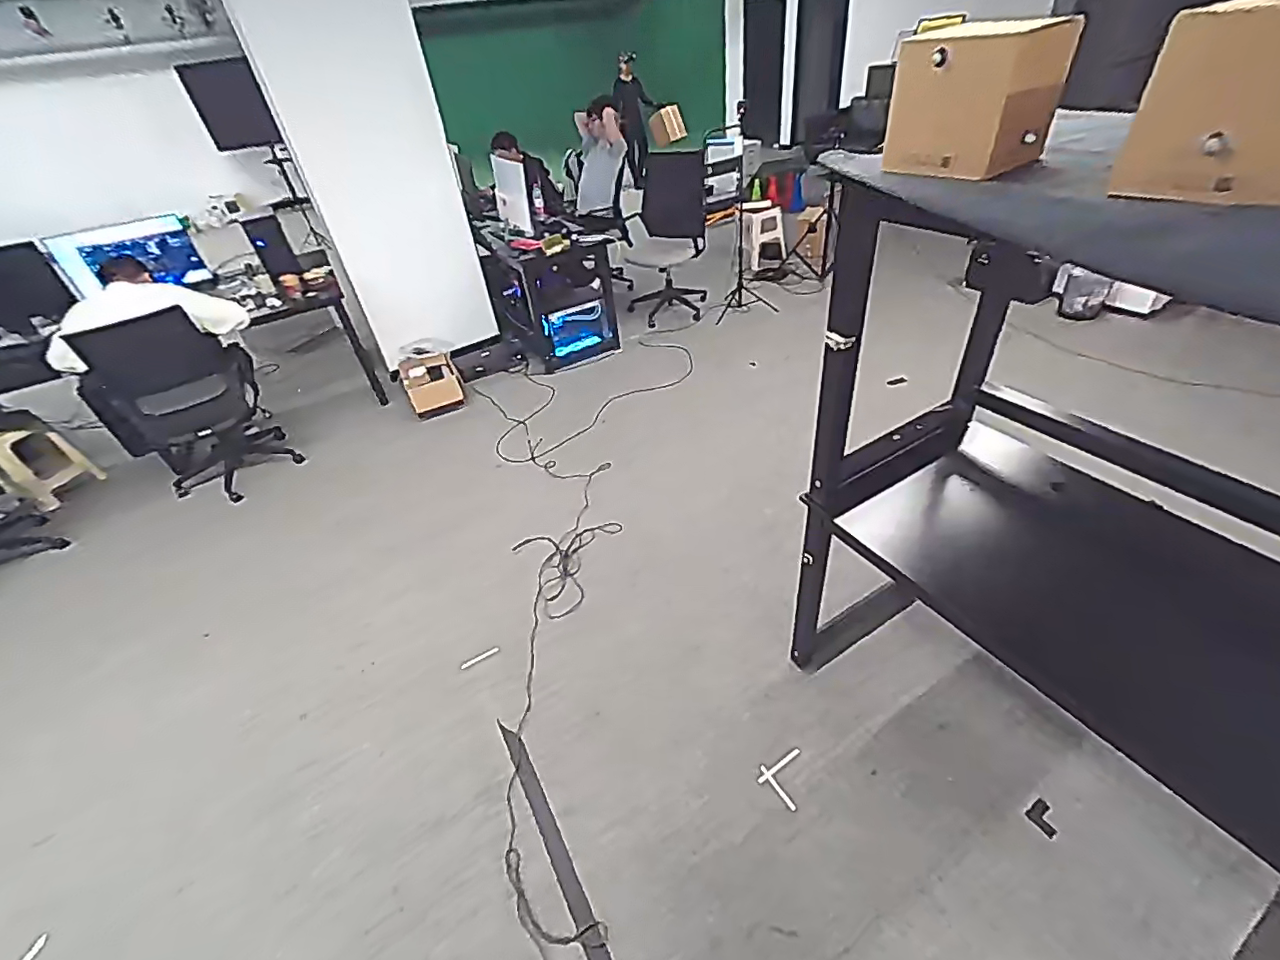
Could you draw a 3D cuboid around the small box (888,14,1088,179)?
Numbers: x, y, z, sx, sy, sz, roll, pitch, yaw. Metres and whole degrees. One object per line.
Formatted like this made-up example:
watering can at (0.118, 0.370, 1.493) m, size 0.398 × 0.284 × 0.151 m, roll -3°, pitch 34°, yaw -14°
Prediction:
small box at (0.489, -0.555, 0.785) m, size 0.179 × 0.176 × 0.168 m, roll -30°, pitch 45°, yaw -25°
